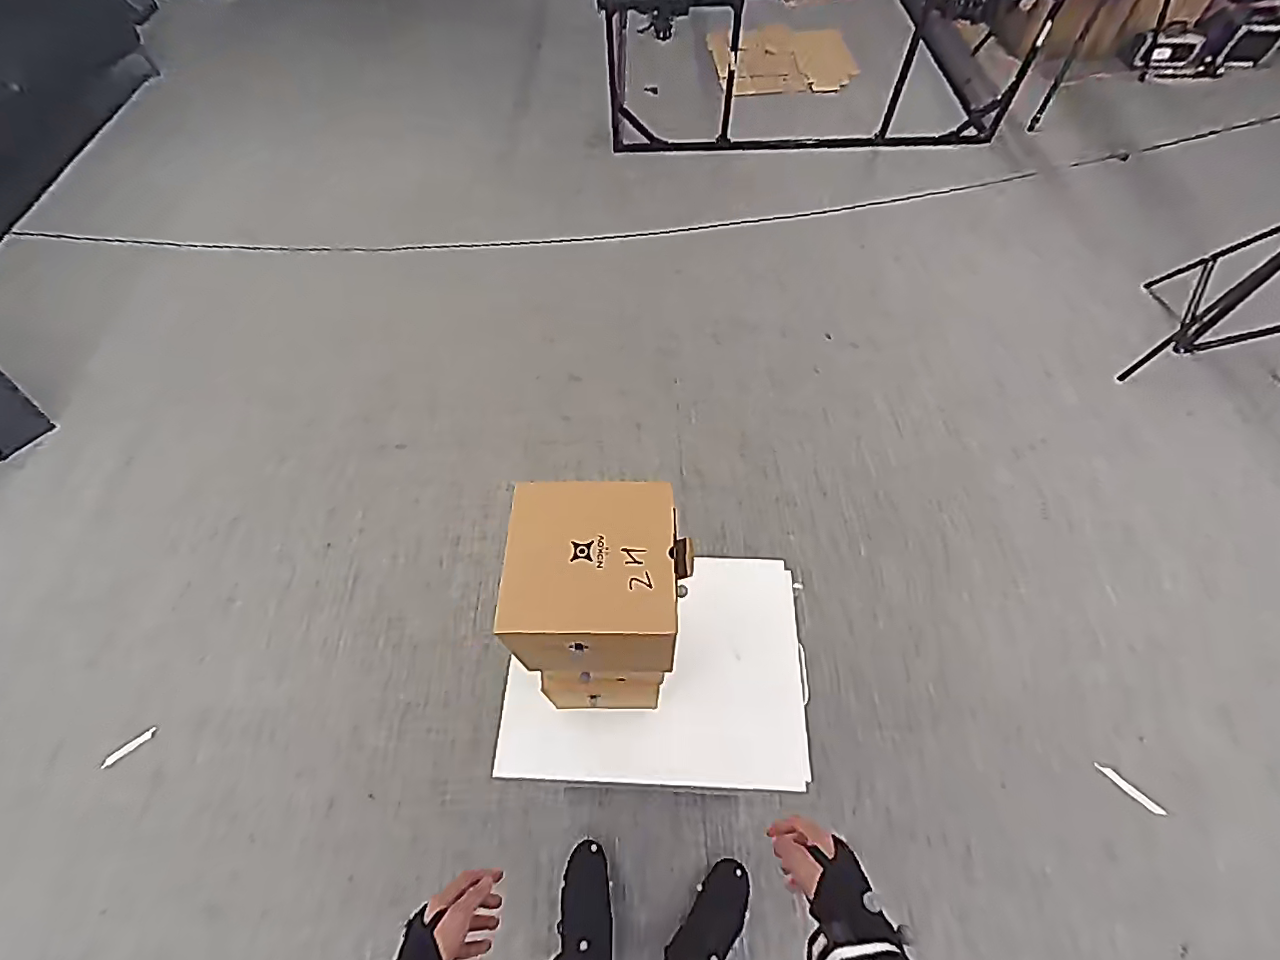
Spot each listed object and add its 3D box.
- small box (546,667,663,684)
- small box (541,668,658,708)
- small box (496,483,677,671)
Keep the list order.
[{"bbox_3d":[-0.047,0.186,0.769,0.168,0.176,0.179,1,58,1],"label":"small box"},{"bbox_3d":[-0.057,0.281,0.901,0.179,0.176,0.168,1,59,0],"label":"small box"},{"bbox_3d":[-0.047,0.116,0.618,0.179,0.176,0.168,1,59,1],"label":"small box"}]
